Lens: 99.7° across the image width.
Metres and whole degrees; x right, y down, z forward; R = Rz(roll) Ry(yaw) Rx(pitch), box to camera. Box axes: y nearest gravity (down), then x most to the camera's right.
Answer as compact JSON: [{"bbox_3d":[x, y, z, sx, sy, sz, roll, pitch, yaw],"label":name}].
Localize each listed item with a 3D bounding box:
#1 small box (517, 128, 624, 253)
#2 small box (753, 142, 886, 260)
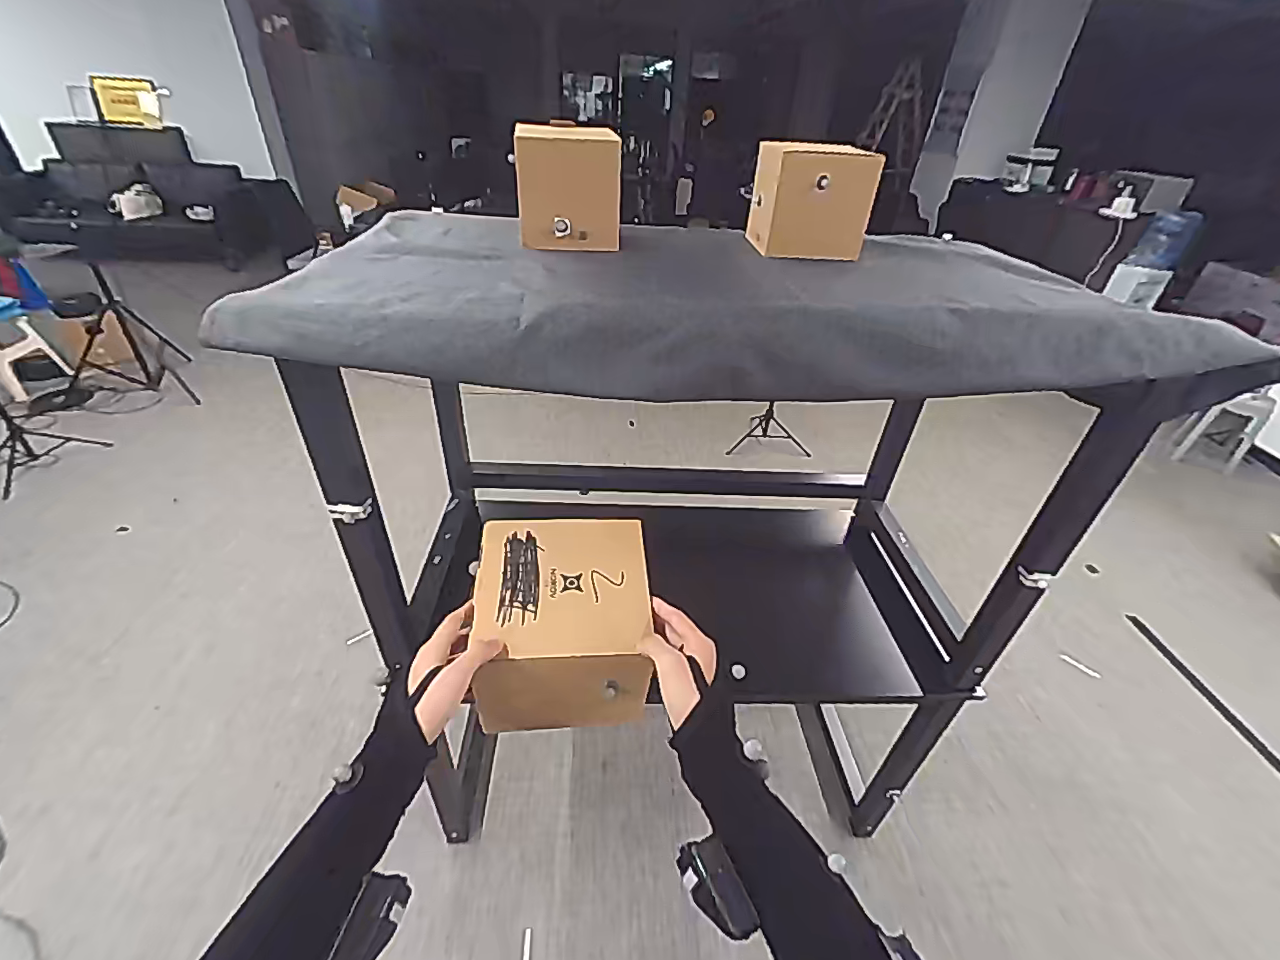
[{"bbox_3d":[-0.121,-0.505,0.940,0.168,0.176,0.179,-3,36,-8],"label":"small box"},{"bbox_3d":[0.310,-0.509,0.986,0.179,0.176,0.168,1,36,-4],"label":"small box"}]
